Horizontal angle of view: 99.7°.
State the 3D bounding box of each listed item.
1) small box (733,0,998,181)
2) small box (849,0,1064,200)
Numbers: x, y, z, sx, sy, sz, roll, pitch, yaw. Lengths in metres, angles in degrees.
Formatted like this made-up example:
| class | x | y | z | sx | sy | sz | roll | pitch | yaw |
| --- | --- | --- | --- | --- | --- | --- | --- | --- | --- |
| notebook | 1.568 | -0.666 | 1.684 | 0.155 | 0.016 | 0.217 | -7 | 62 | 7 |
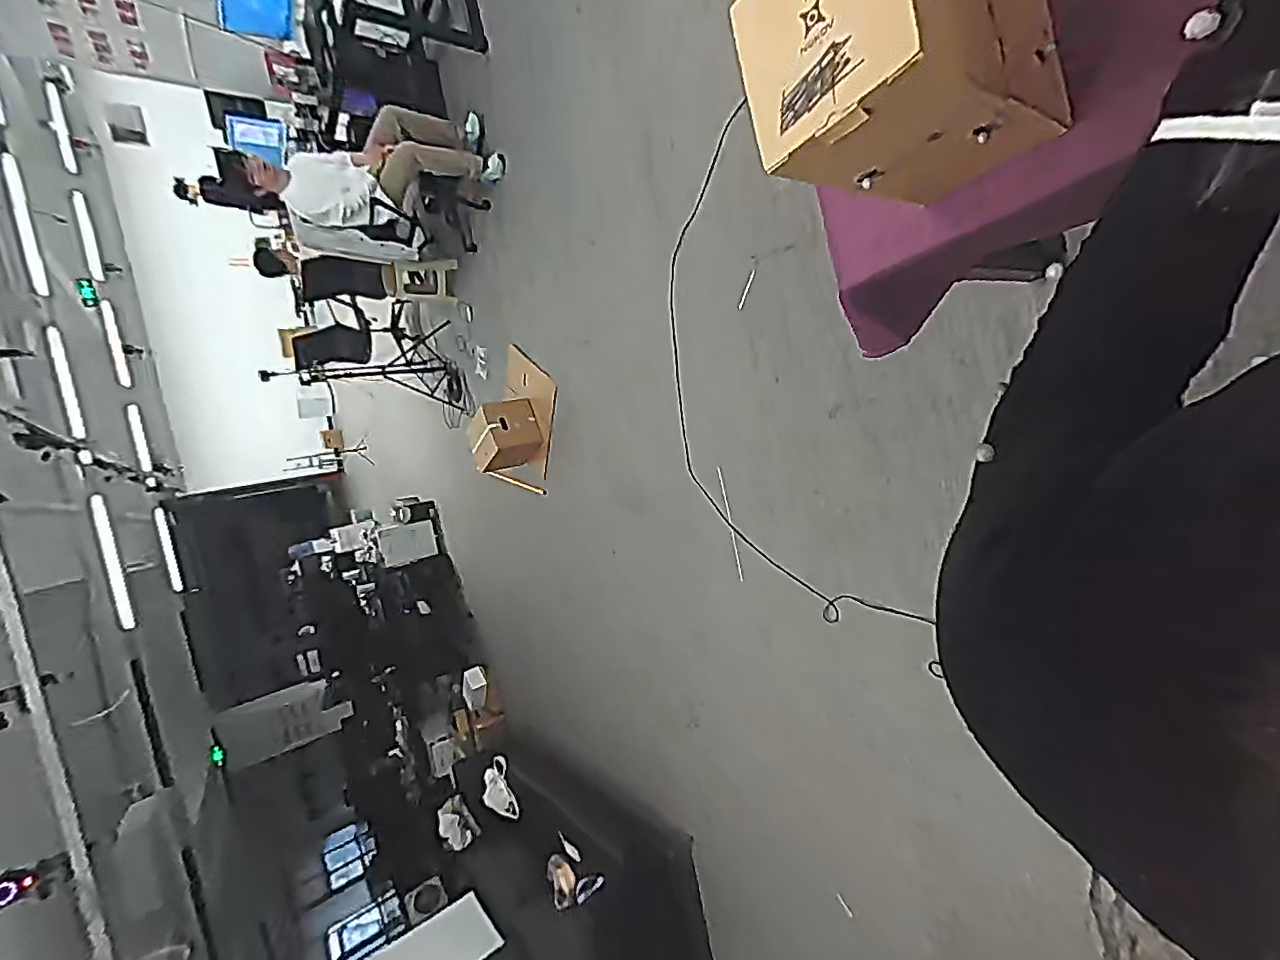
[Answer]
| class | x | y | z | sx | sy | sz | roll | pitch | yaw |
| --- | --- | --- | --- | --- | --- | --- | --- | --- | --- |
| small box | 0.223 | -0.424 | 0.536 | 0.168 | 0.176 | 0.179 | -12 | 90 | 54 |
| small box | 0.353 | -0.455 | 0.633 | 0.179 | 0.176 | 0.168 | -12 | 92 | 54 |
